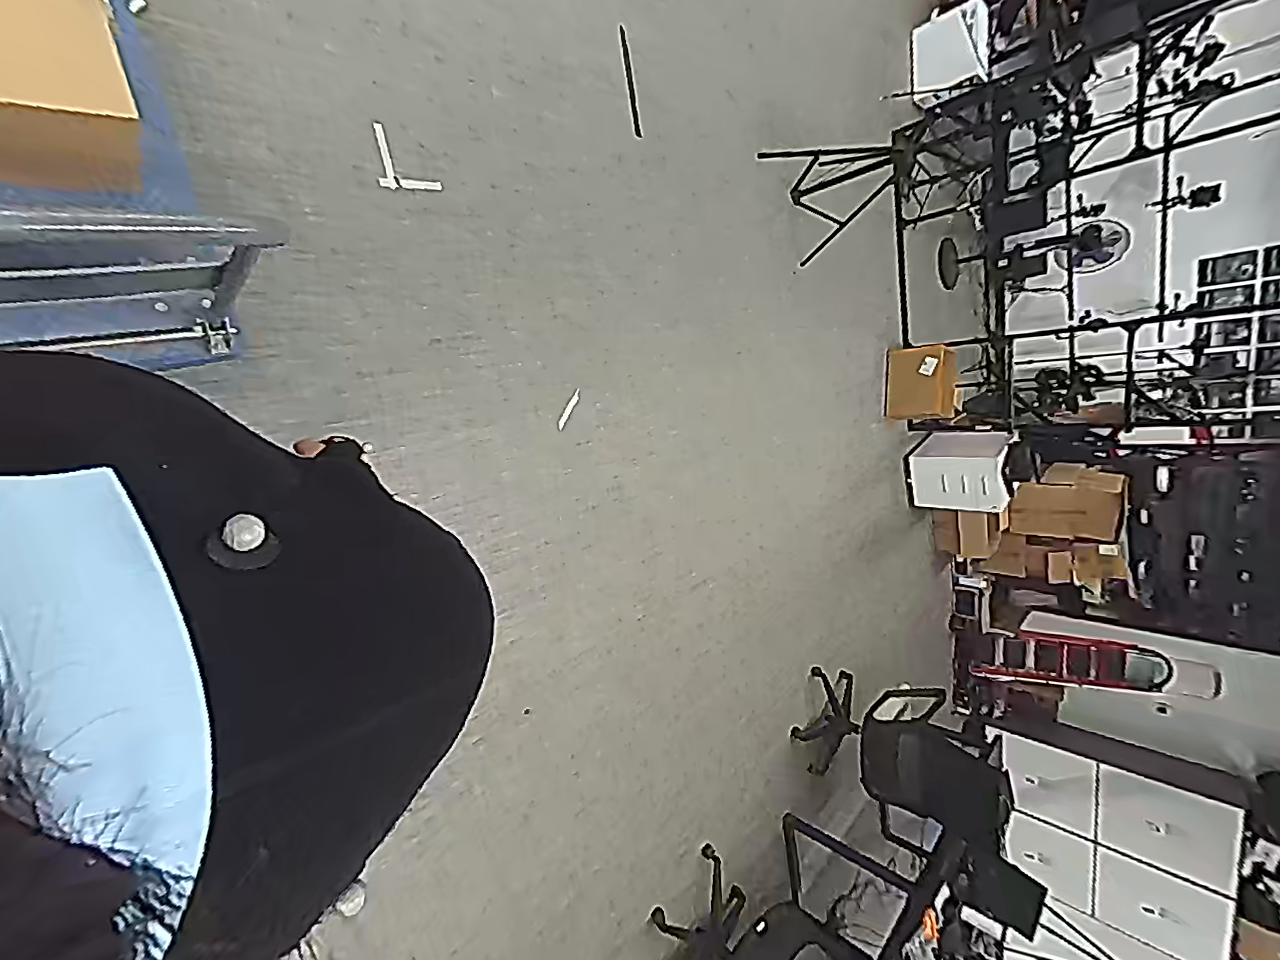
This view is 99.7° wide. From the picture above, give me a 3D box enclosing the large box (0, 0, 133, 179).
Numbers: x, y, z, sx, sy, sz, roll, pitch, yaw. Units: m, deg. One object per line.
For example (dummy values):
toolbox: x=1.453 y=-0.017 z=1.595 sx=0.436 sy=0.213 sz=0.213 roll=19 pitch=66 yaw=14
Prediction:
large box: x=-0.984 y=-0.620 z=0.708 sx=0.408 sy=0.320 sz=0.320 roll=-21 pitch=106 yaw=-40
